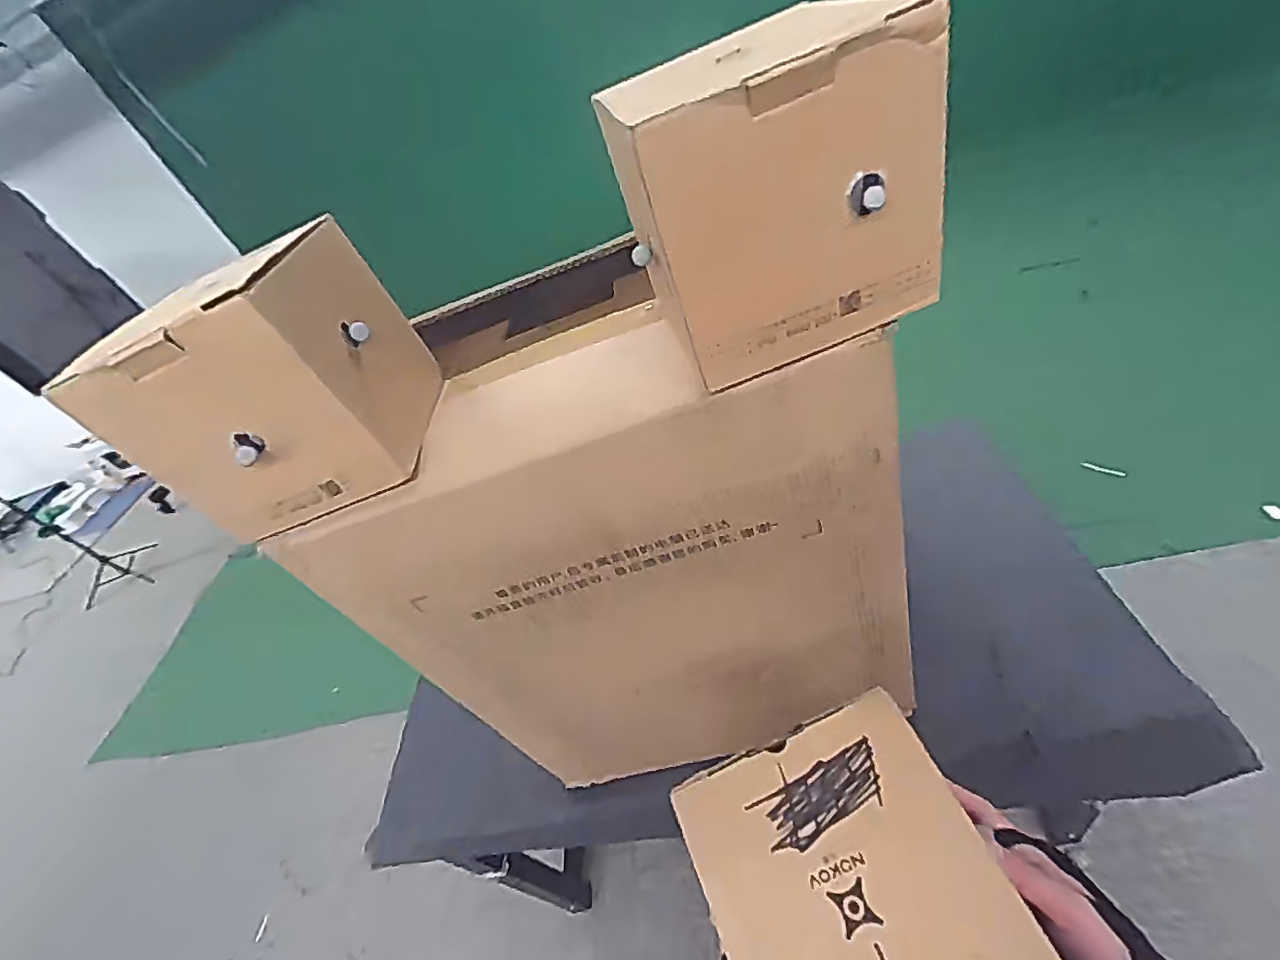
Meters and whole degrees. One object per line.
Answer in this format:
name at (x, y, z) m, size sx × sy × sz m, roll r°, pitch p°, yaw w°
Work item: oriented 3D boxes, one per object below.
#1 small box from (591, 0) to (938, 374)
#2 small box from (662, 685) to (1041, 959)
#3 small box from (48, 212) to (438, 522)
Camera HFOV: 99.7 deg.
small box at (0.079, -0.195, 0.377) m, size 0.168 × 0.176 × 0.179 m, roll -20°, pitch 40°, yaw 4°
small box at (0.139, 0.275, 0.382) m, size 0.168 × 0.176 × 0.179 m, roll -28°, pitch 54°, yaw 5°
small box at (-0.295, -0.086, 0.455) m, size 0.168 × 0.176 × 0.179 m, roll -20°, pitch 41°, yaw 8°
